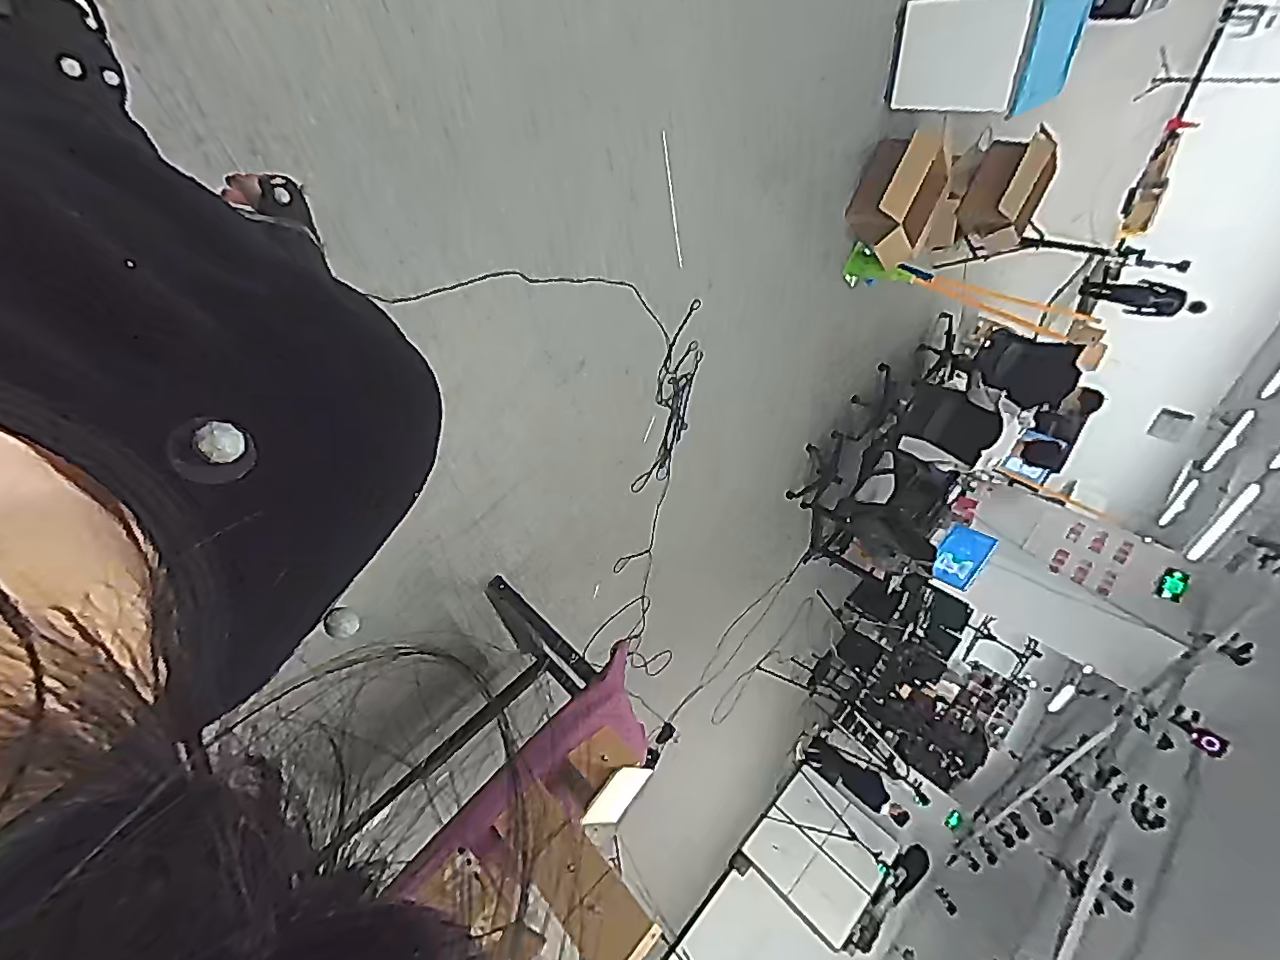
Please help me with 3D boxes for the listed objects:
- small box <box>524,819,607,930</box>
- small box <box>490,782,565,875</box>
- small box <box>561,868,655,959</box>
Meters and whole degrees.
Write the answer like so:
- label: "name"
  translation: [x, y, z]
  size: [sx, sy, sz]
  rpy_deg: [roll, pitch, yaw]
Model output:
- label: "small box"
  translation: [-0.199, 1.091, 1.494]
  size: [0.179, 0.176, 0.168]
  rpy_deg: [-38, 141, -26]
- label: "small box"
  translation: [-0.316, 1.032, 1.592]
  size: [0.168, 0.176, 0.179]
  rpy_deg: [-37, 141, -26]
- label: "small box"
  translation: [-0.086, 1.163, 1.399]
  size: [0.179, 0.176, 0.168]
  rpy_deg: [-37, 141, -25]
